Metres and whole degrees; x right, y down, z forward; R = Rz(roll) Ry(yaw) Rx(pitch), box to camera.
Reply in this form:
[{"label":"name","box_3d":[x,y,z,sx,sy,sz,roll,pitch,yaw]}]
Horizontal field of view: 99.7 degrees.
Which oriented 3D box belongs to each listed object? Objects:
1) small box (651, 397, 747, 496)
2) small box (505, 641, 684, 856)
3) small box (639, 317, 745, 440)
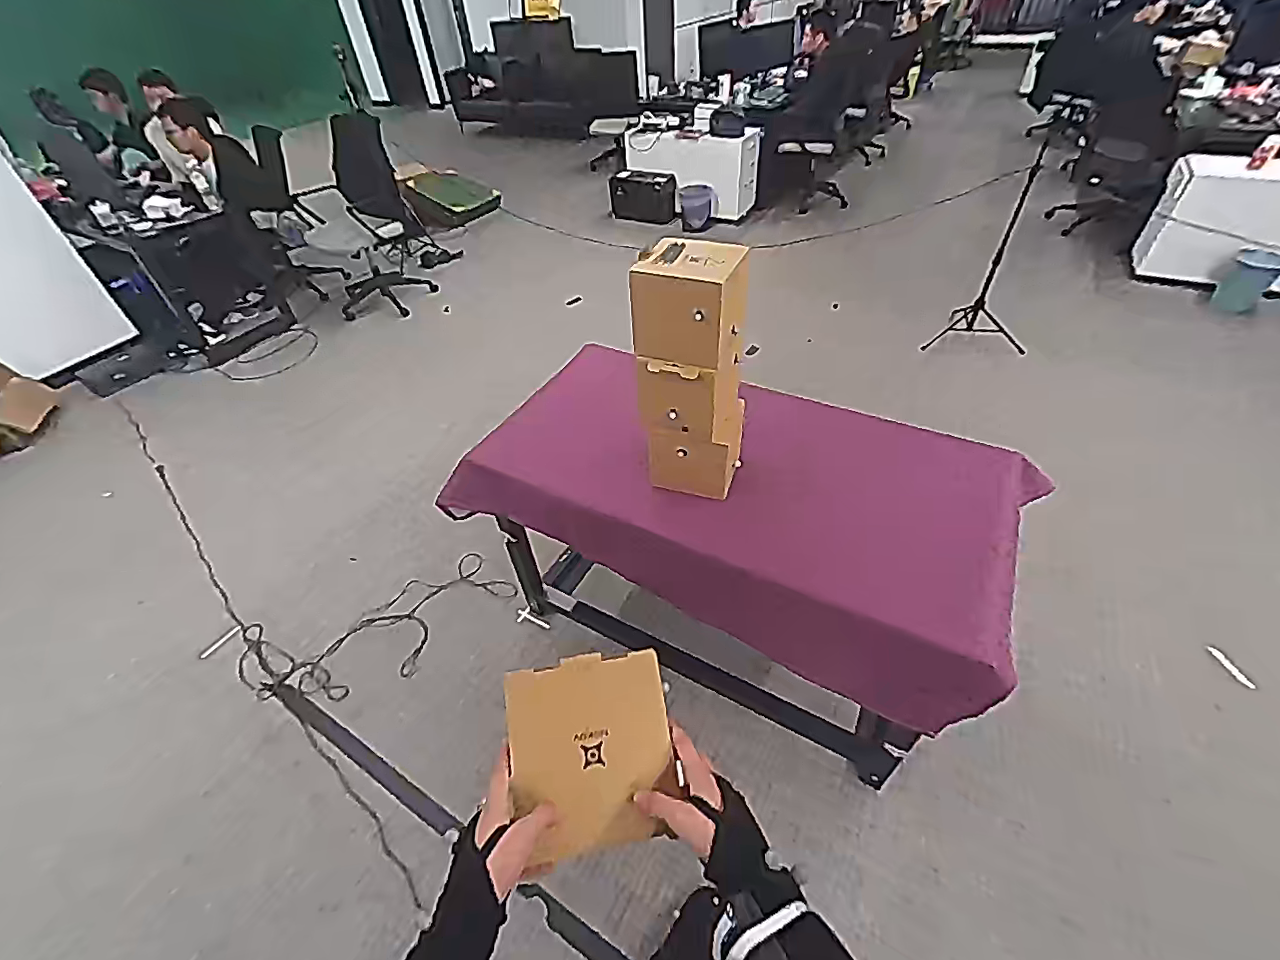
[{"label":"small box","box_3d":[0.134,-0.084,1.228,0.179,0.176,0.168,12,47,16]},{"label":"small box","box_3d":[-0.059,0.294,0.619,0.168,0.176,0.179,-6,67,-12]},{"label":"small box","box_3d":[0.108,-0.213,1.126,0.168,0.176,0.179,15,48,21]}]
